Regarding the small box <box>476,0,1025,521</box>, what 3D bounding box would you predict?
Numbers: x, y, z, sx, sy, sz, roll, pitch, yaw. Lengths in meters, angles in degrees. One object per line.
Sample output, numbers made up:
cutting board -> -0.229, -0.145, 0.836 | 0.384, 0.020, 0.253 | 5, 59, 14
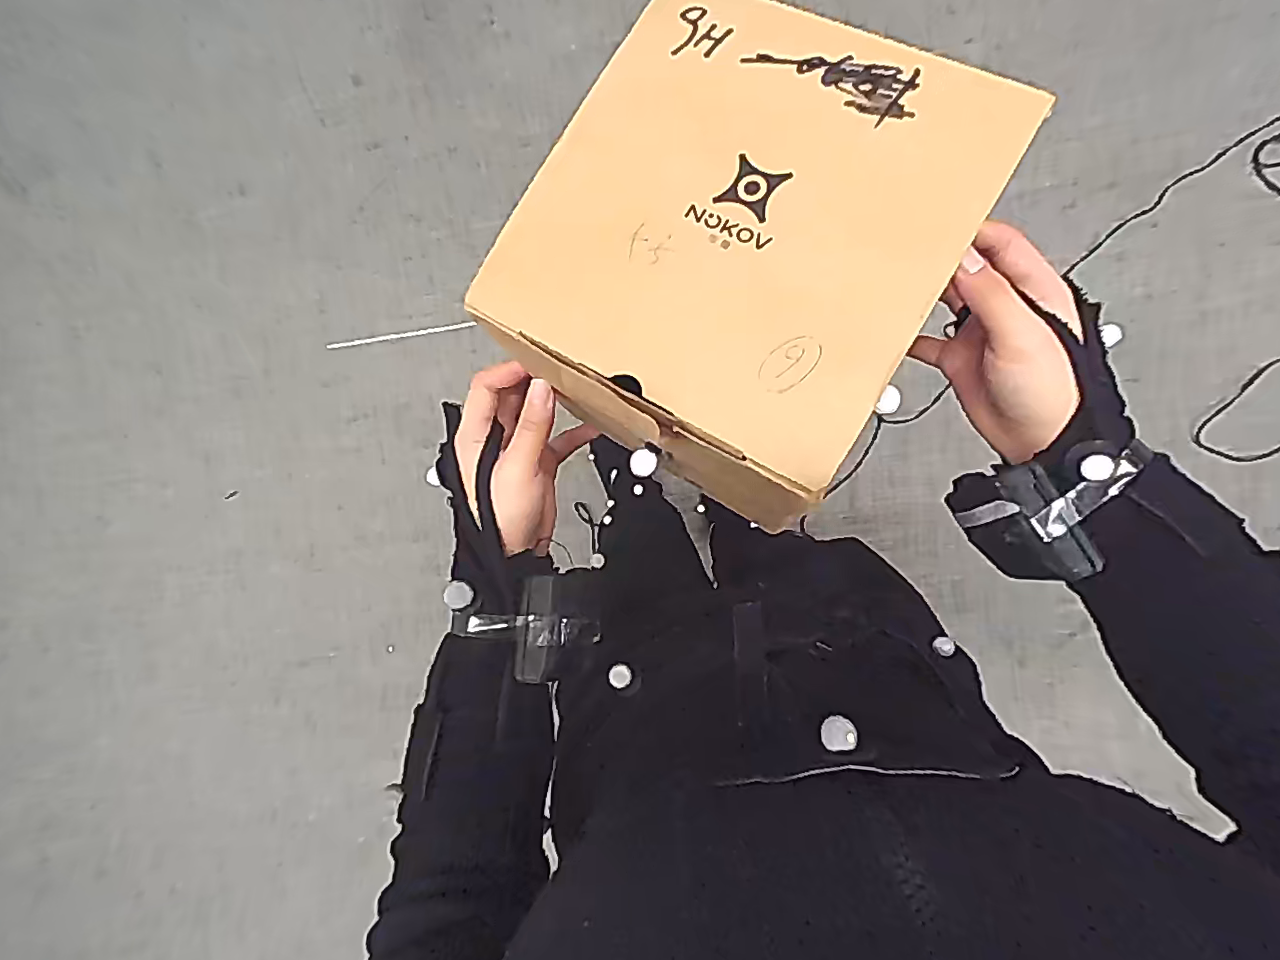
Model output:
small box -> 0.052, -0.091, 0.299 | 0.168, 0.176, 0.179 | 31, 88, 13
